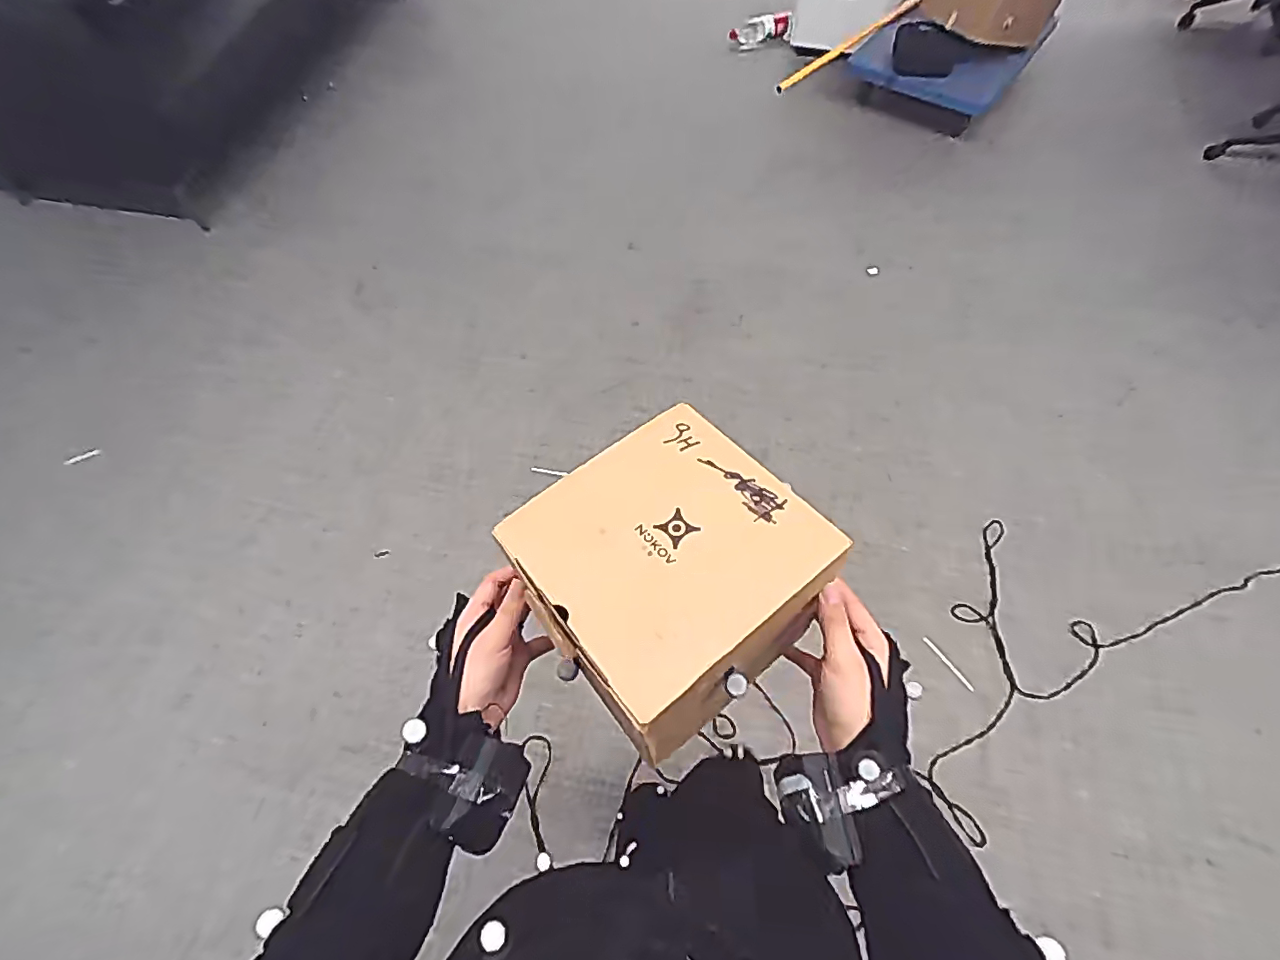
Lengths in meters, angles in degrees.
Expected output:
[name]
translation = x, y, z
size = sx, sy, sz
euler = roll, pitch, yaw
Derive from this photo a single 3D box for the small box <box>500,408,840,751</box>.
[small box]
translation = 0.024, 0.084, 0.429
size = 0.179, 0.176, 0.168
euler = -35, 60, -18
